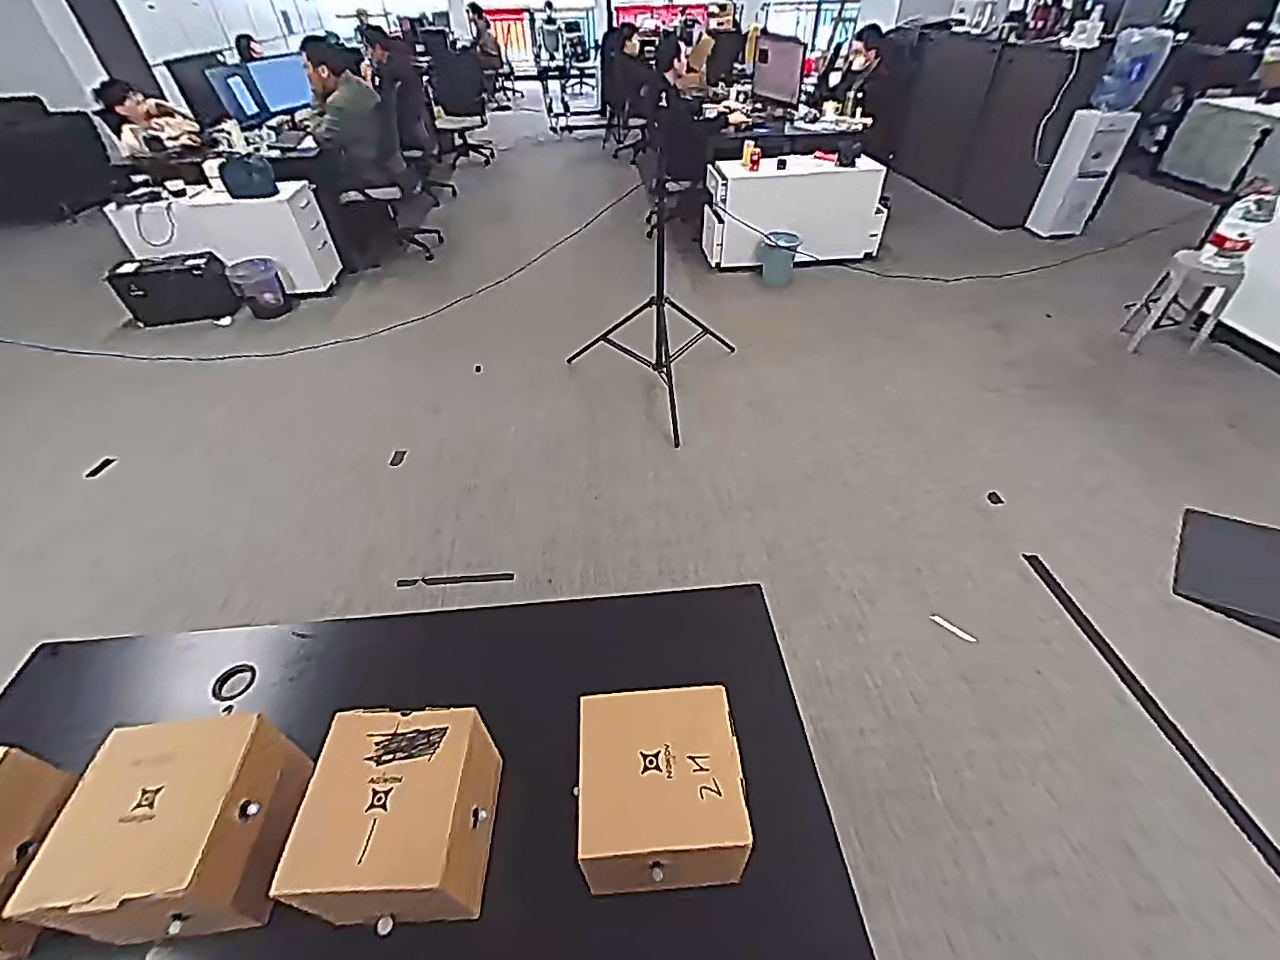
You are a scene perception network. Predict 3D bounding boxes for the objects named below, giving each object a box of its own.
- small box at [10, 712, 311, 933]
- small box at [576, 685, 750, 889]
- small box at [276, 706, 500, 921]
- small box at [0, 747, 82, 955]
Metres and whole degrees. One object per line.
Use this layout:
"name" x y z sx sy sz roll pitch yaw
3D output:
"small box" -0.517 0.398 0.625 0.168 0.176 0.179 -4 42 -5
"small box" 0.022 0.366 0.644 0.179 0.176 0.168 -3 43 -2
"small box" -0.268 0.386 0.629 0.168 0.176 0.179 -2 43 -1
"small box" -0.777 0.422 0.601 0.179 0.176 0.168 -5 43 -6
